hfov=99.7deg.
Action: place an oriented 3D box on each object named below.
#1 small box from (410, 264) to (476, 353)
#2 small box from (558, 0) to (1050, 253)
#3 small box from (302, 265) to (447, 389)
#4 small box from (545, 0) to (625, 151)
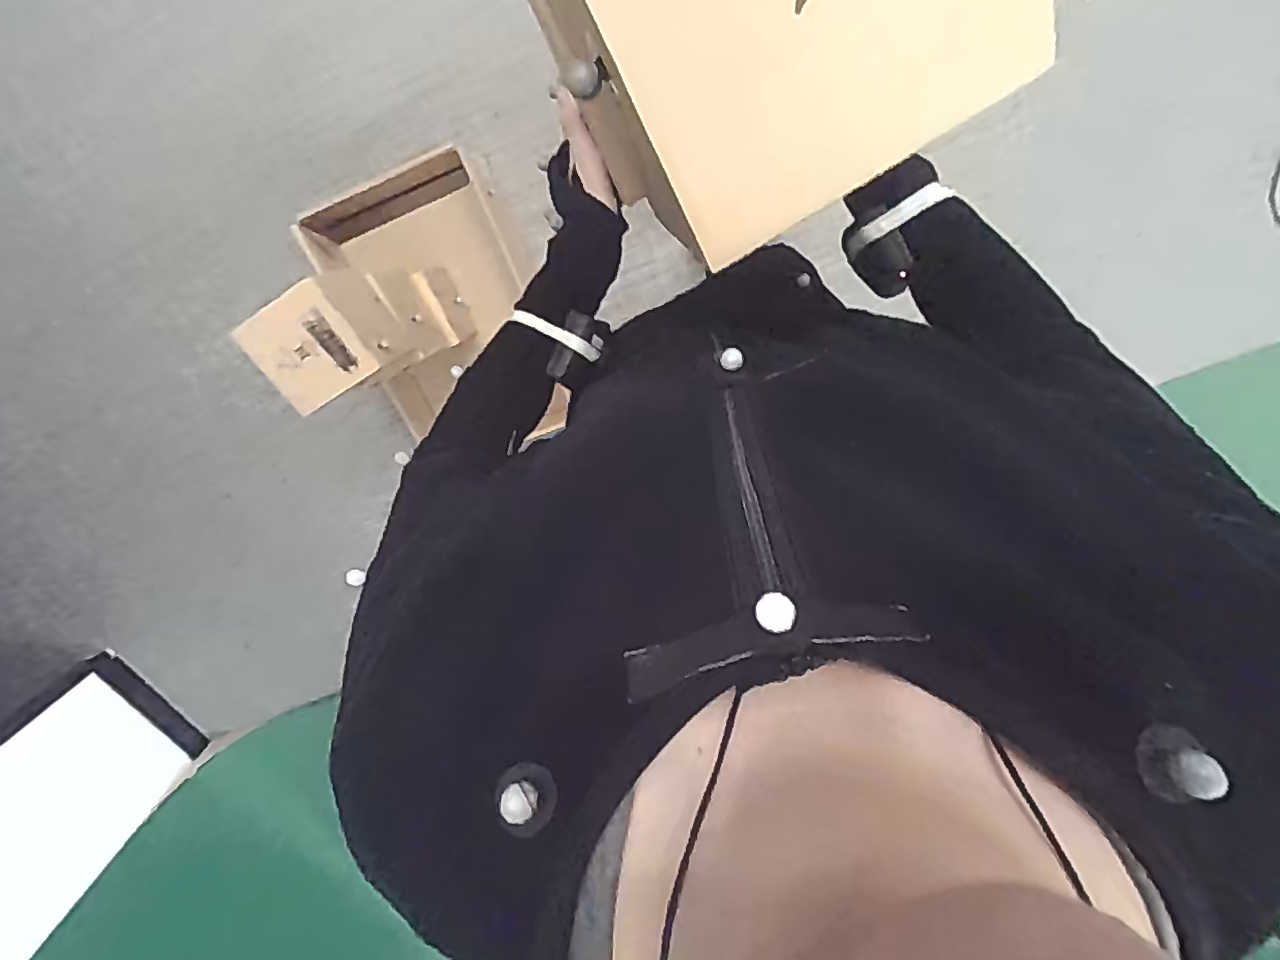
[{"bbox_3d":[-0.508,-0.385,1.247,0.179,0.176,0.168,-20,115,7],"label":"small box"},{"bbox_3d":[0.051,-0.246,0.261,0.168,0.176,0.179,-27,121,11],"label":"small box"},{"bbox_3d":[-0.524,-0.315,1.099,0.168,0.176,0.179,-23,115,9],"label":"small box"},{"bbox_3d":[0.005,-0.447,0.517,0.168,0.176,0.179,-23,122,8],"label":"small box"}]
